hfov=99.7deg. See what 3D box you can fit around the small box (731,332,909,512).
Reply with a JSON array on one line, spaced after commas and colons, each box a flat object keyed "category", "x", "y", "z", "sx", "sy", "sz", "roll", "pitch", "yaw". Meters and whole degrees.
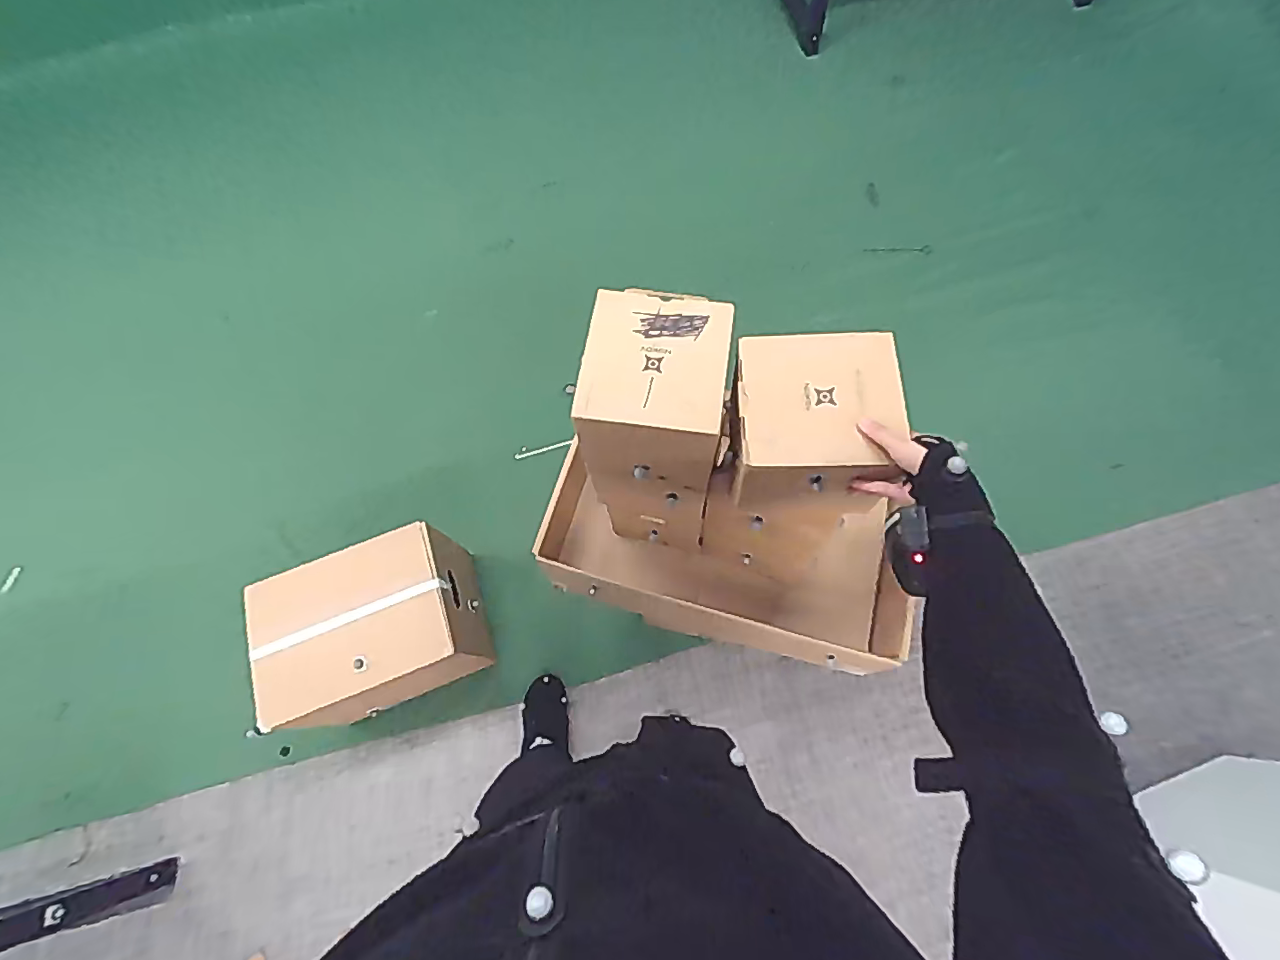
[{"category": "small box", "x": 0.203, "y": -0.063, "z": 0.667, "sx": 0.179, "sy": 0.176, "sz": 0.168, "roll": 1, "pitch": 68, "yaw": 6}]
